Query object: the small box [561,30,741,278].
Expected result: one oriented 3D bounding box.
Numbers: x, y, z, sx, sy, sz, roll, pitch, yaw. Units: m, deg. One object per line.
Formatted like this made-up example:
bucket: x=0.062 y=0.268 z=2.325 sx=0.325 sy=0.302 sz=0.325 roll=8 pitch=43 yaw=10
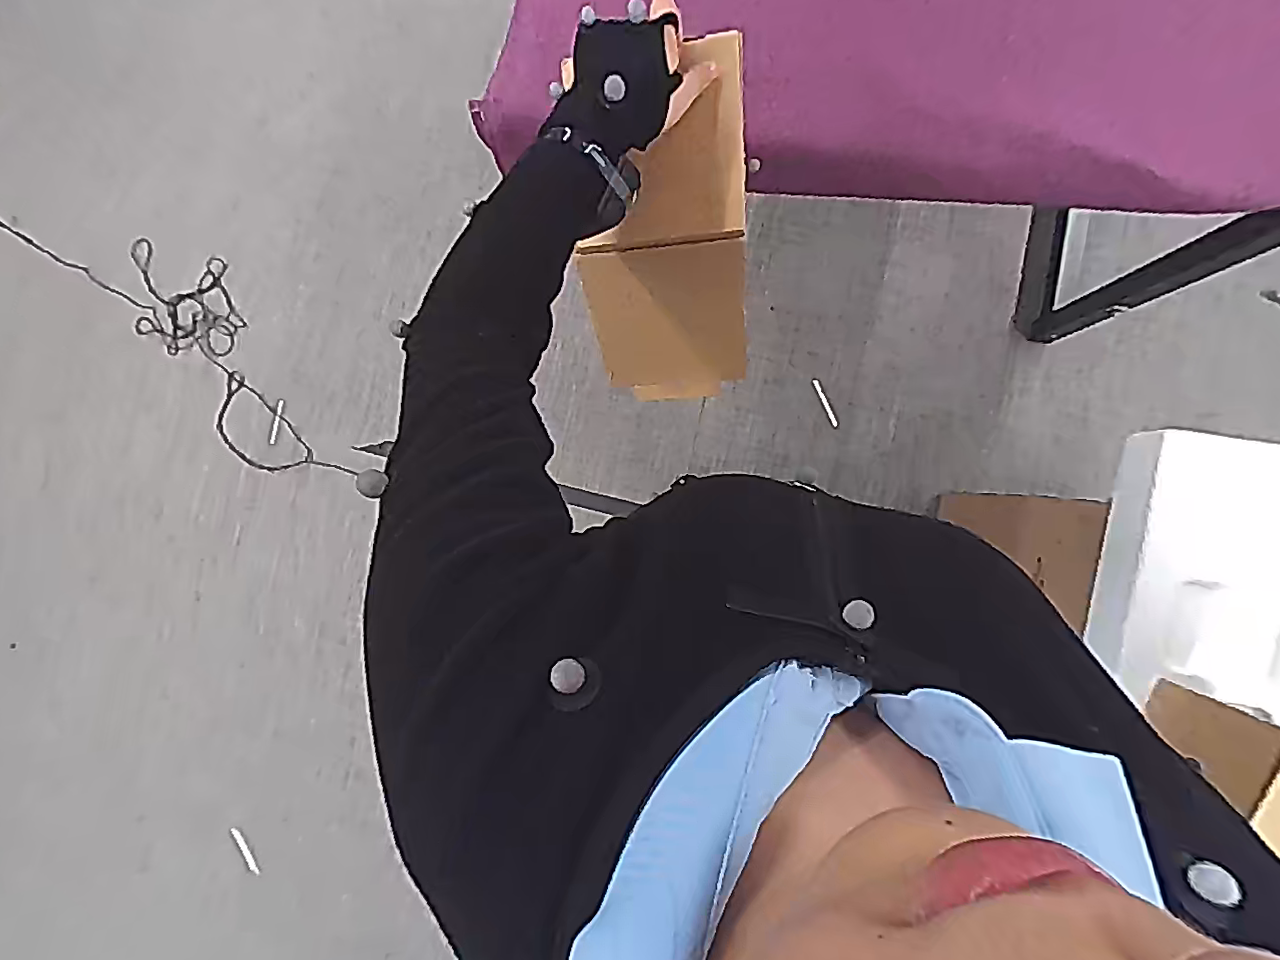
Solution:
small box: x=0.023 y=-0.321 z=0.578 sx=0.168 sy=0.176 sz=0.179 roll=-1 pitch=99 yaw=9
